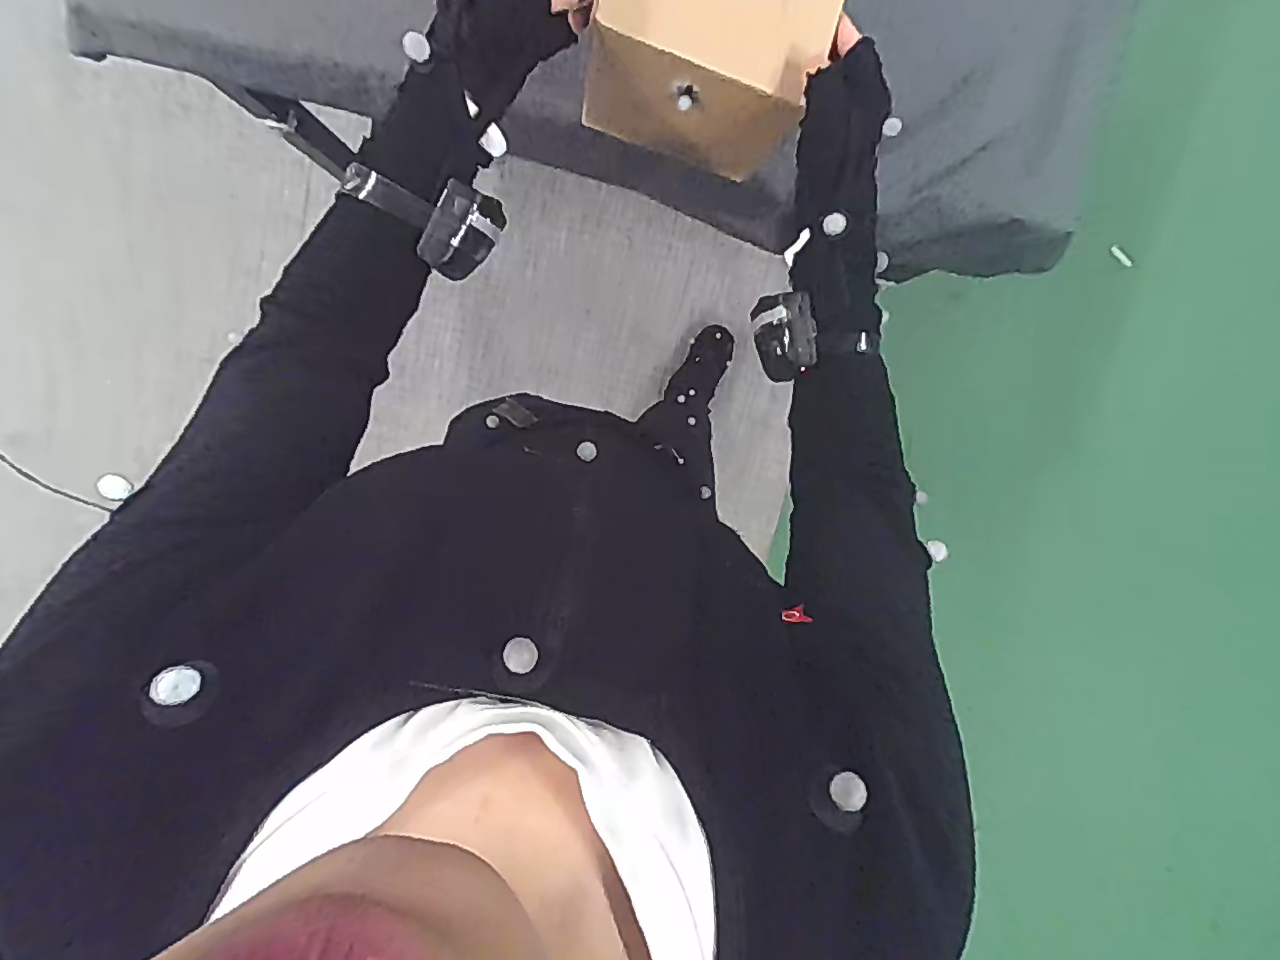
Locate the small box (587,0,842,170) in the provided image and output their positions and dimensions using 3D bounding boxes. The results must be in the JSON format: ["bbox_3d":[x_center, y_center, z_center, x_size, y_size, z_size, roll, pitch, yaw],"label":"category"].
[{"bbox_3d":[0.057,-0.397,0.462,0.179,0.176,0.168,13,100,-12],"label":"small box"}]
